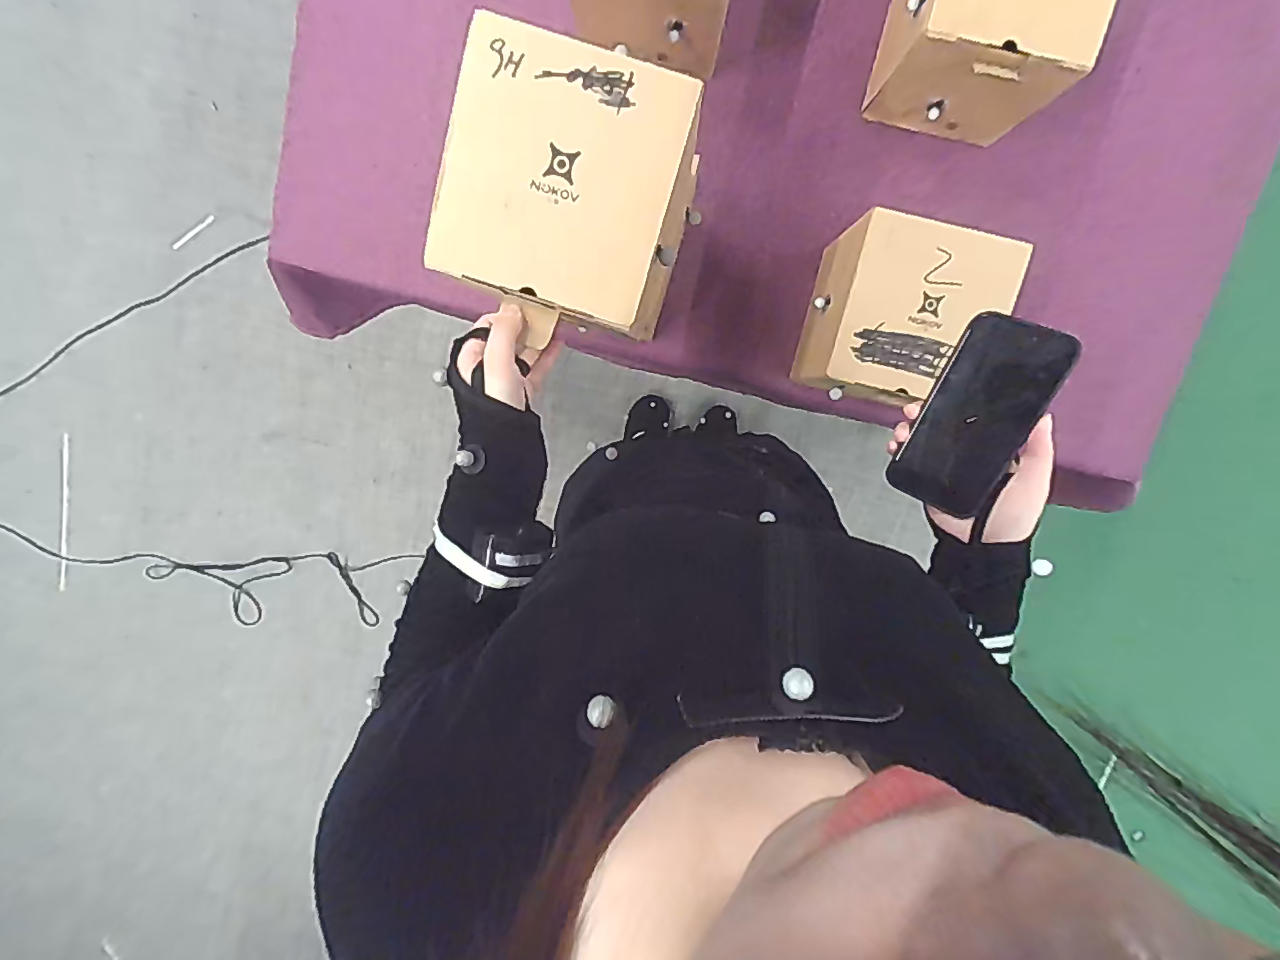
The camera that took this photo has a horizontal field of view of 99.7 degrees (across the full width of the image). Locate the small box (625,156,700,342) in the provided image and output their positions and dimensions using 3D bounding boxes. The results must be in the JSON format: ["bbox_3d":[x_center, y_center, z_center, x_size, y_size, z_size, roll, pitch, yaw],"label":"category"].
[{"bbox_3d":[-0.040,-0.273,0.627,0.168,0.176,0.179,17,100,0],"label":"small box"}]

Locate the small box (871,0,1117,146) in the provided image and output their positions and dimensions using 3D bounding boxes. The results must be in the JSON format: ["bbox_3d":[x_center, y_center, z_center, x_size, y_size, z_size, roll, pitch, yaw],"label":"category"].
[{"bbox_3d":[0.369,-0.497,0.574,0.168,0.176,0.179,11,99,2],"label":"small box"}]

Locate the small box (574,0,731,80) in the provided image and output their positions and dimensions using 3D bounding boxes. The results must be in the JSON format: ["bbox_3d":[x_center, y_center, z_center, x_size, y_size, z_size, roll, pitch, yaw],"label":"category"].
[{"bbox_3d":[0.026,-0.575,0.574,0.168,0.176,0.179,14,100,-2],"label":"small box"}]

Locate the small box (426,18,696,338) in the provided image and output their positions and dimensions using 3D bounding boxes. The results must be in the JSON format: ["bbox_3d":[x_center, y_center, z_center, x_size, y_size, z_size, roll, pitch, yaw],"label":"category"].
[{"bbox_3d":[-0.057,-0.230,0.467,0.168,0.176,0.179,17,102,-1],"label":"small box"}]
